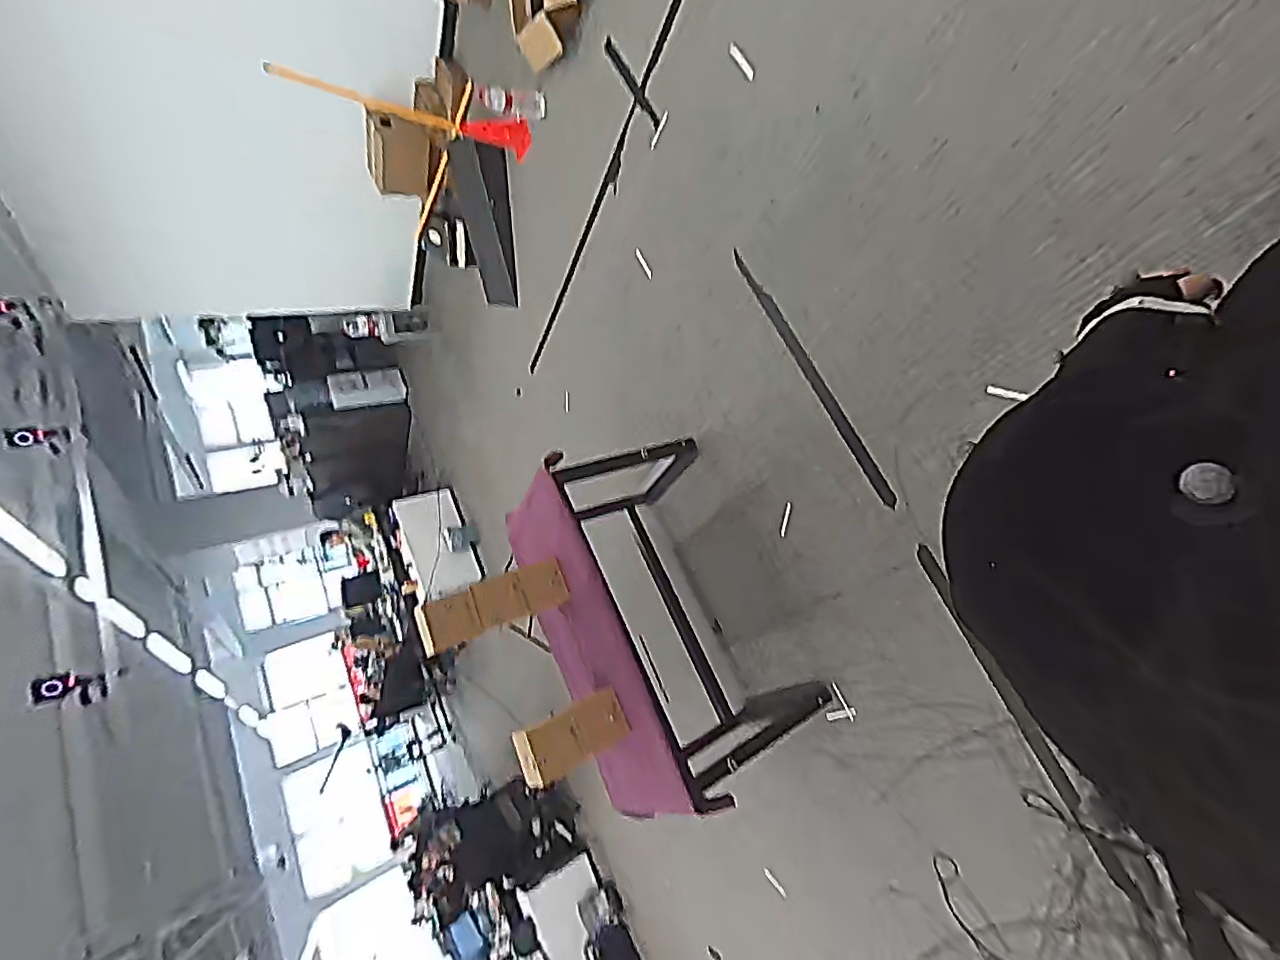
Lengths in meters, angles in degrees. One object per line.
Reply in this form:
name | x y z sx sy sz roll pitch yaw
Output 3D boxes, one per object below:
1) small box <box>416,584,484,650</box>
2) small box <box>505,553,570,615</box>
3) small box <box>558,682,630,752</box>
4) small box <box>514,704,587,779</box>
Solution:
small box | -0.644 0.465 1.841 0.179 0.176 0.168 -37 71 57
small box | -0.384 0.391 2.024 0.179 0.176 0.168 -39 71 55
small box | -0.161 0.818 1.867 0.179 0.176 0.168 -45 66 53
small box | -0.293 0.856 1.777 0.179 0.176 0.168 -44 66 54
